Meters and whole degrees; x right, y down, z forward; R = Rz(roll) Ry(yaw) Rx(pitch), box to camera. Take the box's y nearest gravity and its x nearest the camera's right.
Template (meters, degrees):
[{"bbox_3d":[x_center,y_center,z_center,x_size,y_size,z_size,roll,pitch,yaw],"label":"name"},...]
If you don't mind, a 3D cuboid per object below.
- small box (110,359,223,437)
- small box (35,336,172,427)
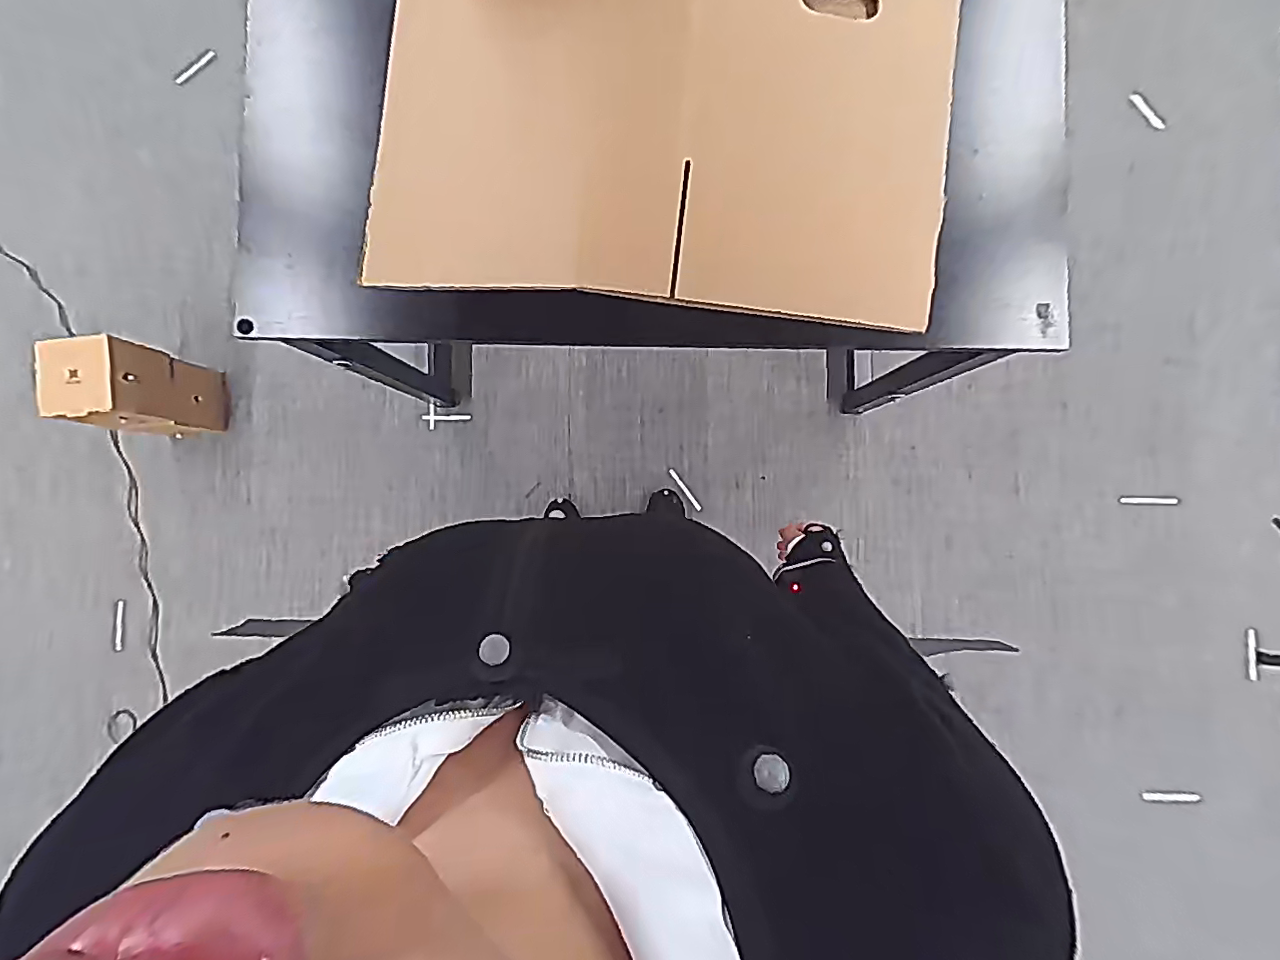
[{"bbox_3d":[-1.256,-0.213,1.444,0.168,0.176,0.179,-3,89,1],"label":"small box"},{"bbox_3d":[-1.260,-0.225,1.282,0.168,0.176,0.179,-6,87,0],"label":"small box"}]
